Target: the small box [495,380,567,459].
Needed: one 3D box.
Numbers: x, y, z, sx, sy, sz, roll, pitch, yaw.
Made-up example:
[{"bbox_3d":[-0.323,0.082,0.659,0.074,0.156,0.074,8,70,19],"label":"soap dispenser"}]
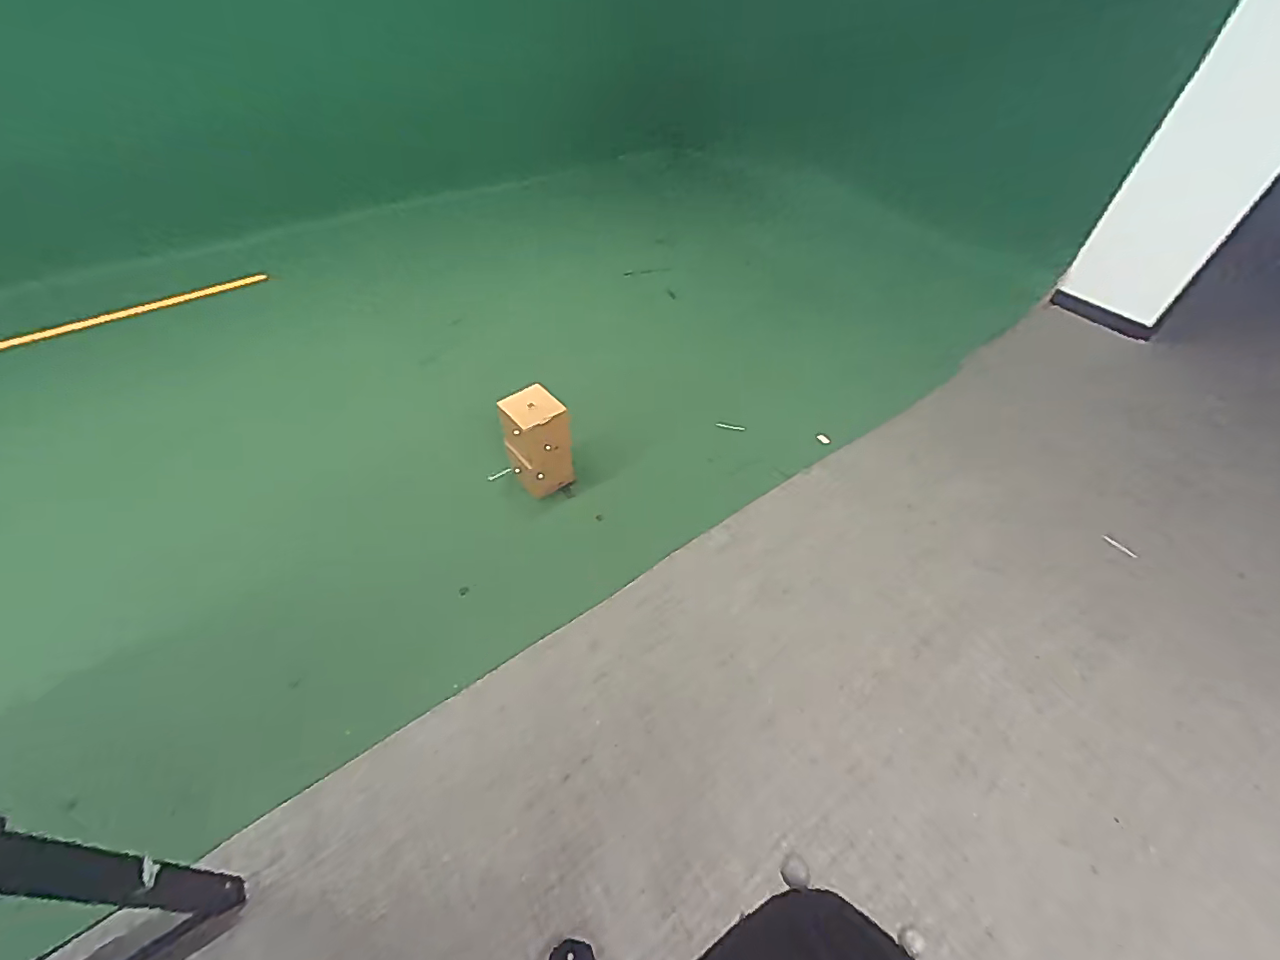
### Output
[{"bbox_3d":[-0.361,-0.201,1.814,0.168,0.176,0.179,-32,57,-27],"label":"small box"}]
